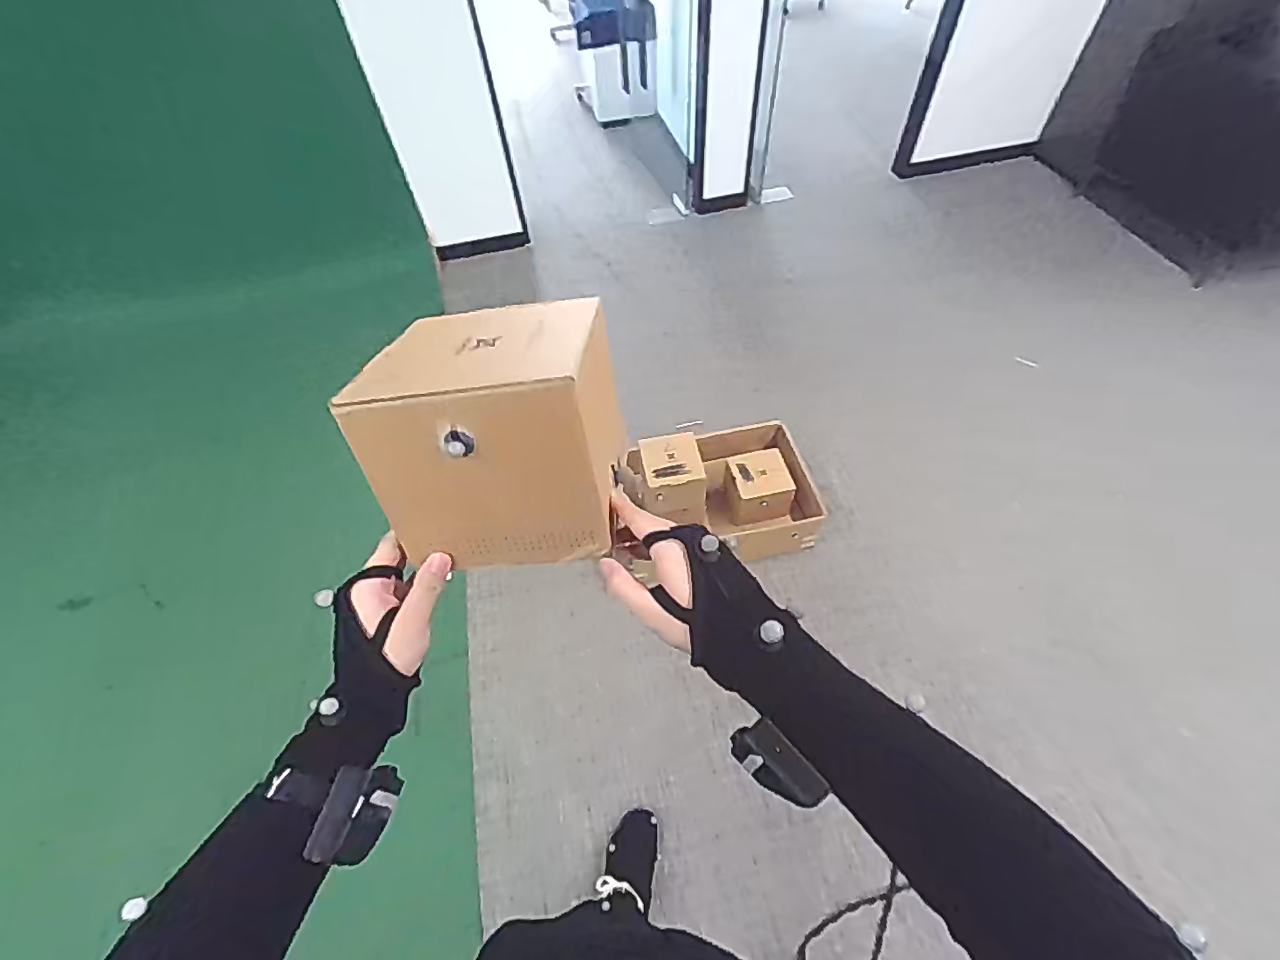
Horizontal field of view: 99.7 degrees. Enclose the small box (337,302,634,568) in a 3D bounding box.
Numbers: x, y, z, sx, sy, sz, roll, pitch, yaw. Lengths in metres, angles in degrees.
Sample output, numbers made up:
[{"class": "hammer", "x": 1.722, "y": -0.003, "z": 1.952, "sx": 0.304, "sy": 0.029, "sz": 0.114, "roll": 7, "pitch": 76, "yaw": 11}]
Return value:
[{"class": "small box", "x": -0.109, "y": -0.038, "z": 0.470, "sx": 0.179, "sy": 0.176, "sz": 0.168, "roll": -4, "pitch": 35, "yaw": 8}]
